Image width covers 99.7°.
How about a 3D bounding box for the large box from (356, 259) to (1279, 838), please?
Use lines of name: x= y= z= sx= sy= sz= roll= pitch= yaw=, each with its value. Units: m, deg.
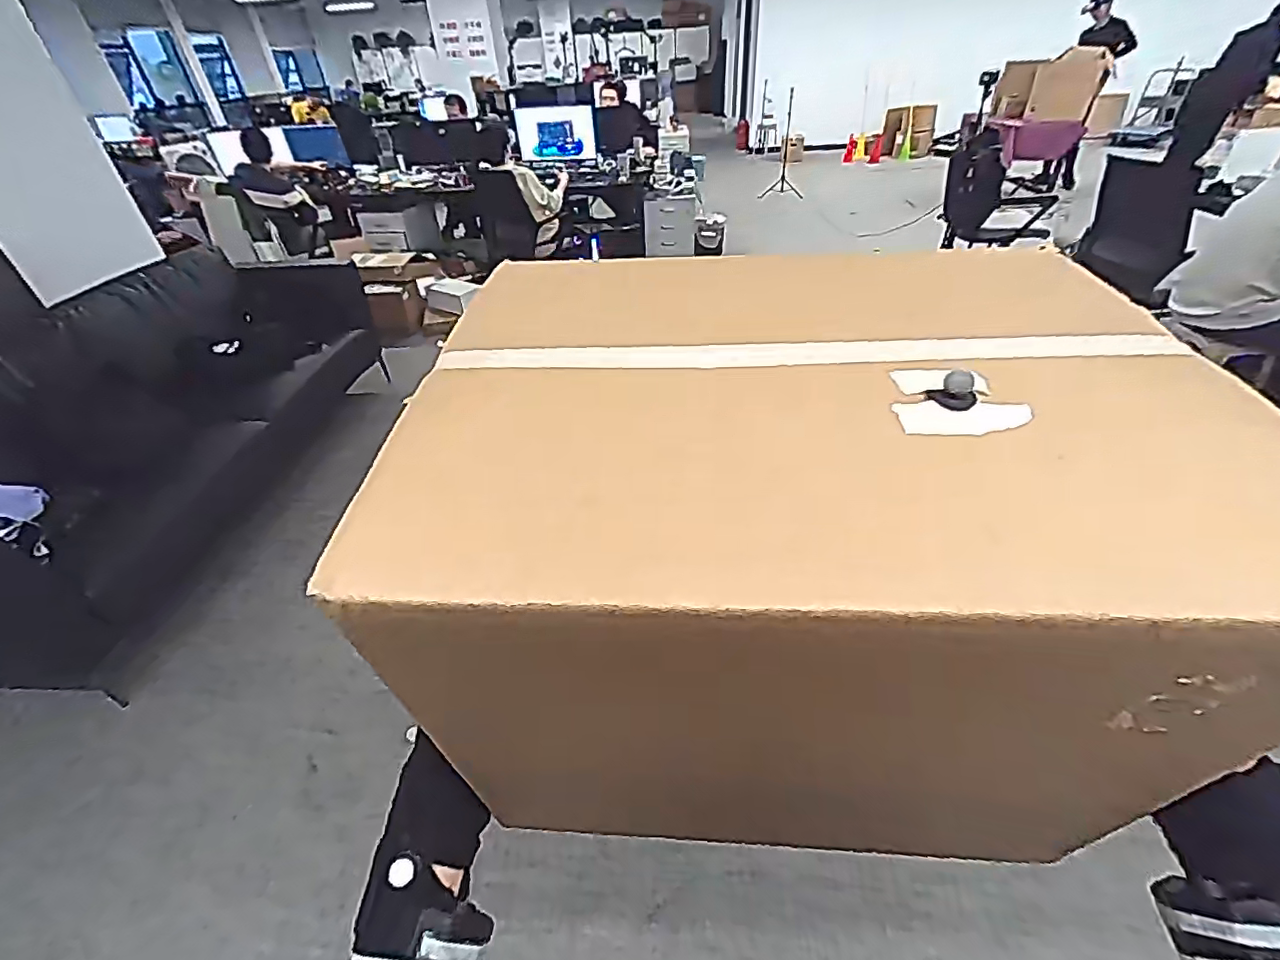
large box: x=0.095 y=0.046 z=0.411 sx=0.408 sy=0.320 sz=0.320 roll=1 pitch=45 yaw=5
